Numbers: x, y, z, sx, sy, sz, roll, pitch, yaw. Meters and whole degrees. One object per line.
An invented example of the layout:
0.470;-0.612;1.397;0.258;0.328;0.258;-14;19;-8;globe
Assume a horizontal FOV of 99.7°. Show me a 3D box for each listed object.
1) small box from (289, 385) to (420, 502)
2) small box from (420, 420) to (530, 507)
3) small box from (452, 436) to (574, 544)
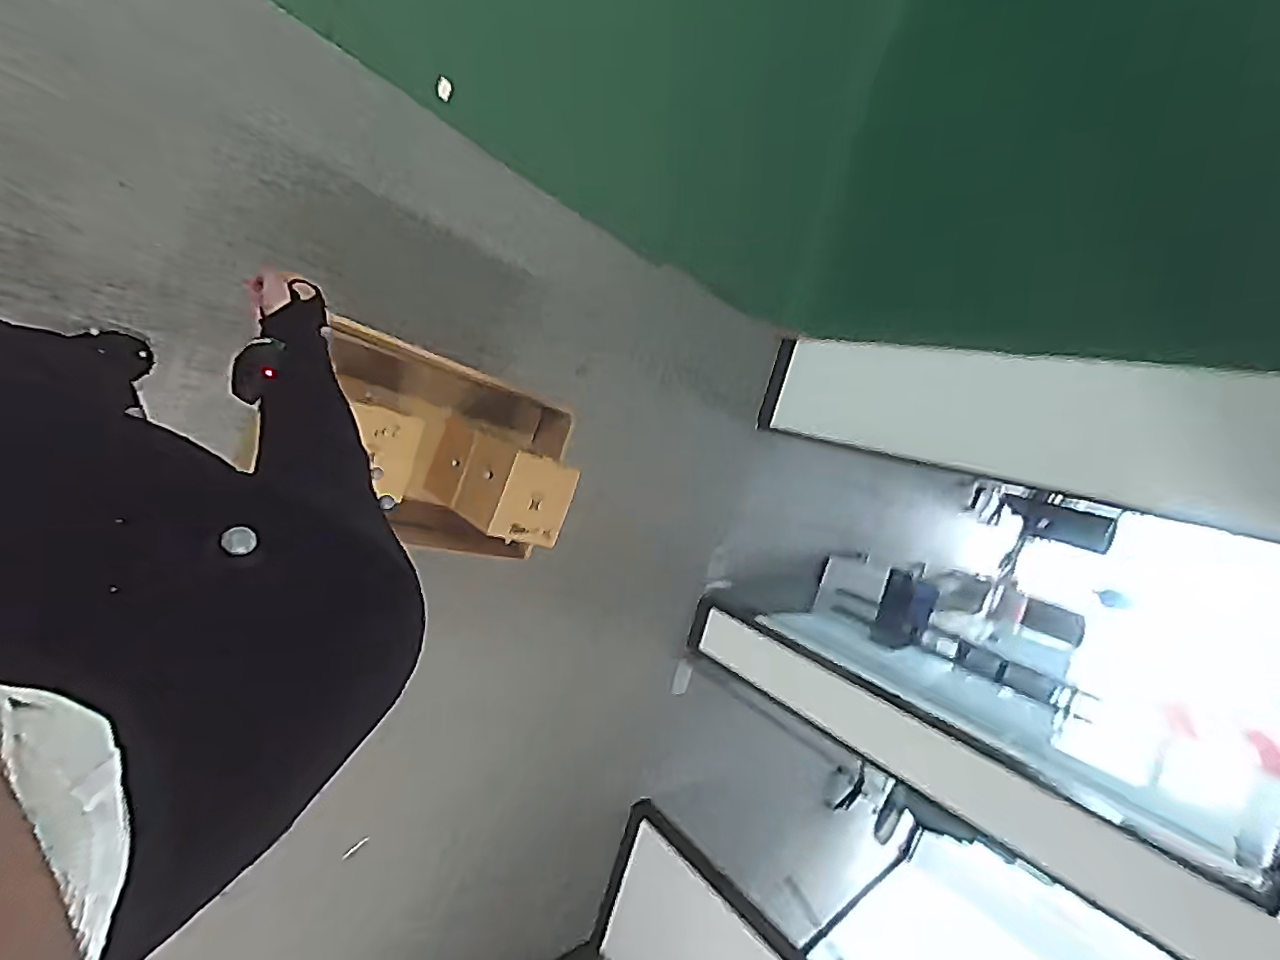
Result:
-0.568;-0.073;1.068;0.168;0.176;0.179;16;93;-47;small box
-0.388;-0.026;1.270;0.168;0.176;0.179;21;90;-46;small box
-0.276;0.017;1.159;0.168;0.176;0.179;20;90;-45;small box
